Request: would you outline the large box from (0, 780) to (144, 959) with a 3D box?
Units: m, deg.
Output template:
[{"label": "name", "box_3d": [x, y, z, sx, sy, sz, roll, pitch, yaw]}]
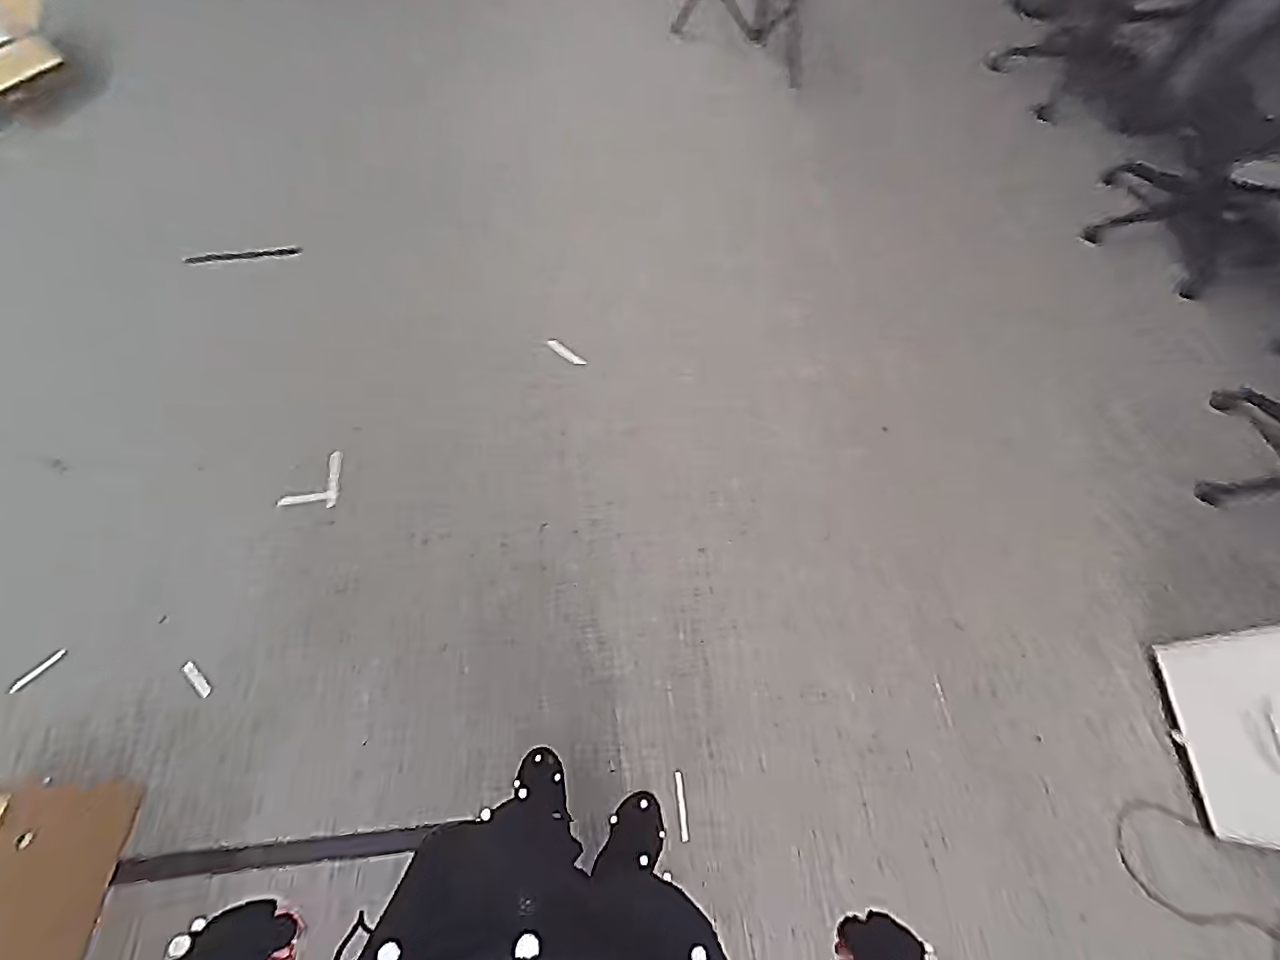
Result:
[{"label": "large box", "box_3d": [-1.278, 0.805, 1.020, 0.320, 0.320, 0.408, 2, 65, 0]}]
